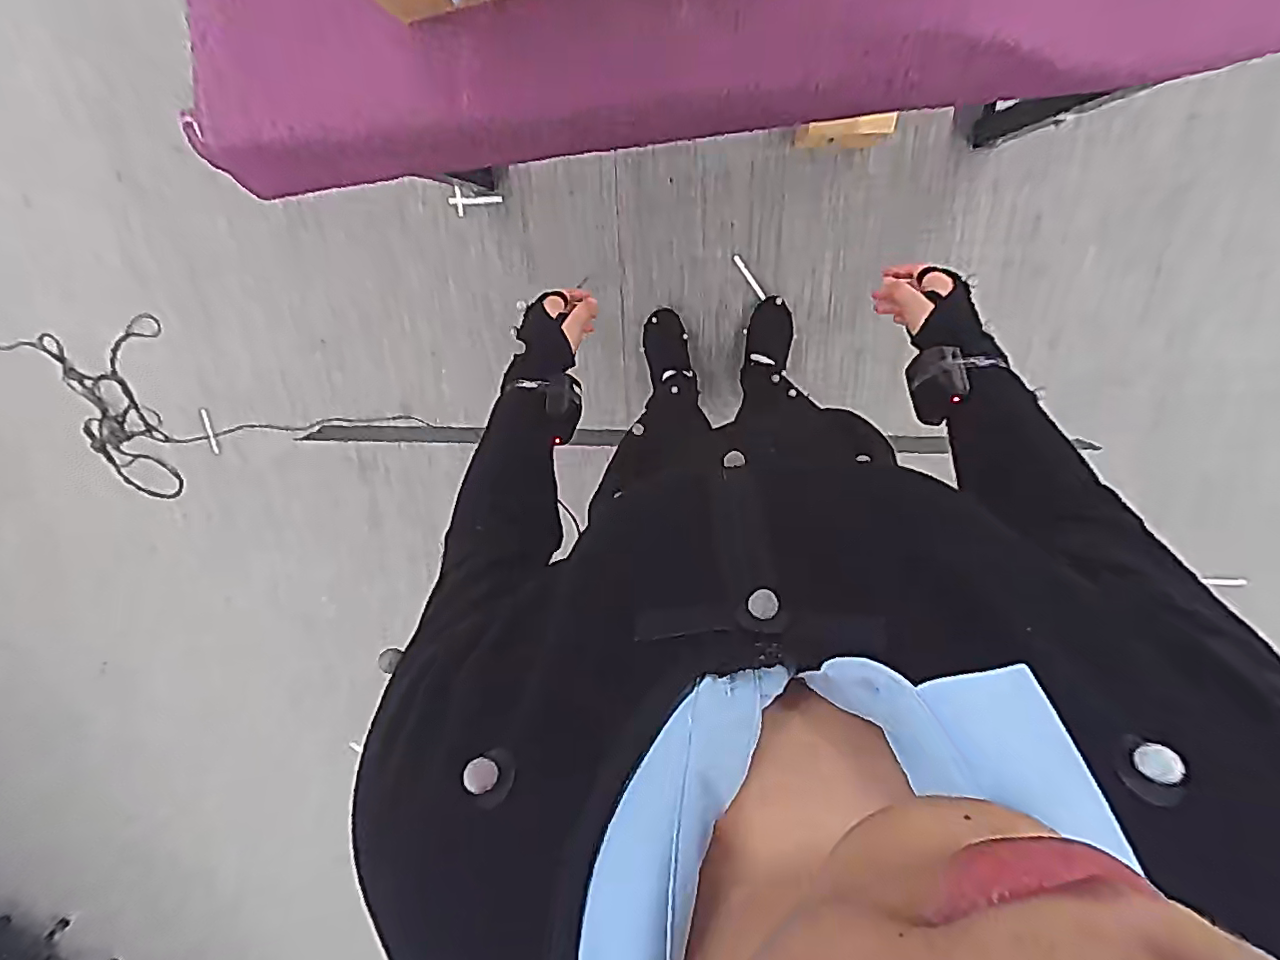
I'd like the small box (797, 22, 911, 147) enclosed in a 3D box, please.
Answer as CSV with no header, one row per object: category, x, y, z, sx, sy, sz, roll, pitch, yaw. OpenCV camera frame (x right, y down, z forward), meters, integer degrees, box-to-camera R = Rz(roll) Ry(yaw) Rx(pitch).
small box,0.422,-0.793,1.100,0.168,0.176,0.179,3,112,5
